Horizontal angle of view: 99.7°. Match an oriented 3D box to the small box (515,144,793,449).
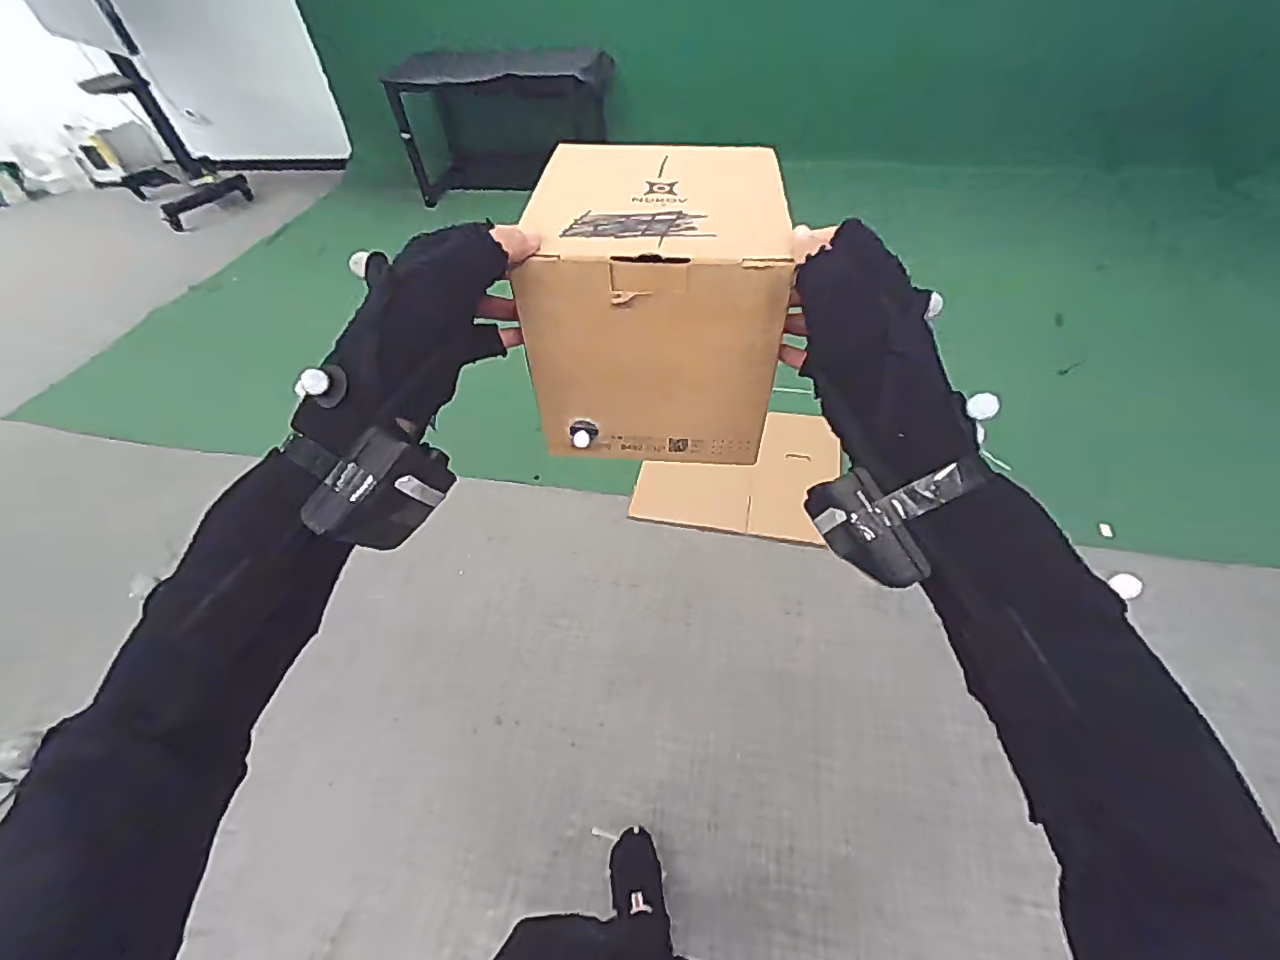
[{"bbox_3d":[0.016,-0.140,0.423,0.168,0.176,0.179,3,49,3],"label":"small box"}]
